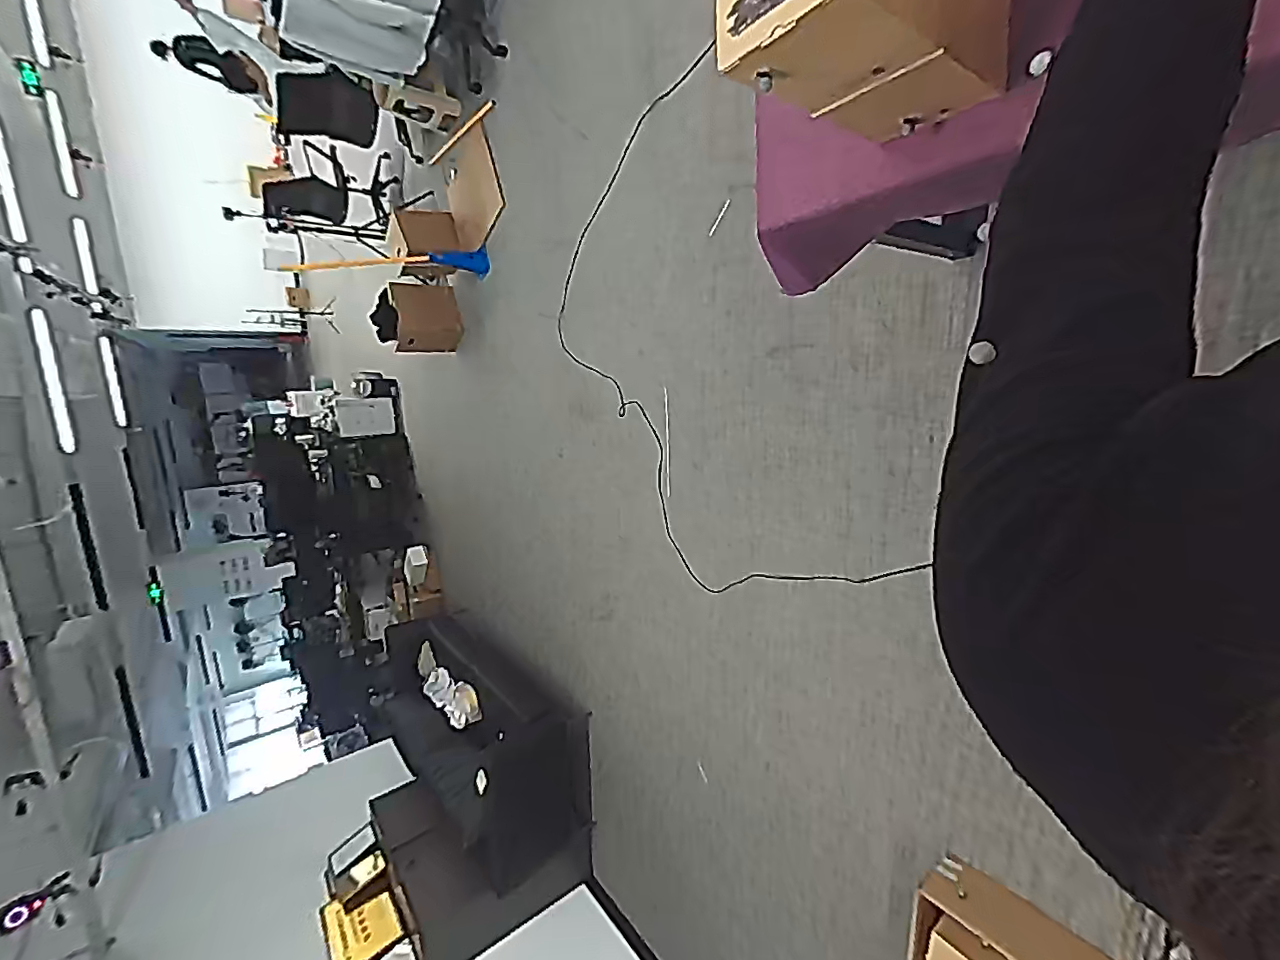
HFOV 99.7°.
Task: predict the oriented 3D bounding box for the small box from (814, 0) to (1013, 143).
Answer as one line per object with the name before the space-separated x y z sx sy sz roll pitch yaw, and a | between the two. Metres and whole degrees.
small box | 0.338 -0.557 0.672 0.168 0.176 0.179 11 107 52

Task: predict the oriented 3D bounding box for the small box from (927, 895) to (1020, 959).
small box | 0.919 1.310 1.490 0.168 0.176 0.179 17 112 50
